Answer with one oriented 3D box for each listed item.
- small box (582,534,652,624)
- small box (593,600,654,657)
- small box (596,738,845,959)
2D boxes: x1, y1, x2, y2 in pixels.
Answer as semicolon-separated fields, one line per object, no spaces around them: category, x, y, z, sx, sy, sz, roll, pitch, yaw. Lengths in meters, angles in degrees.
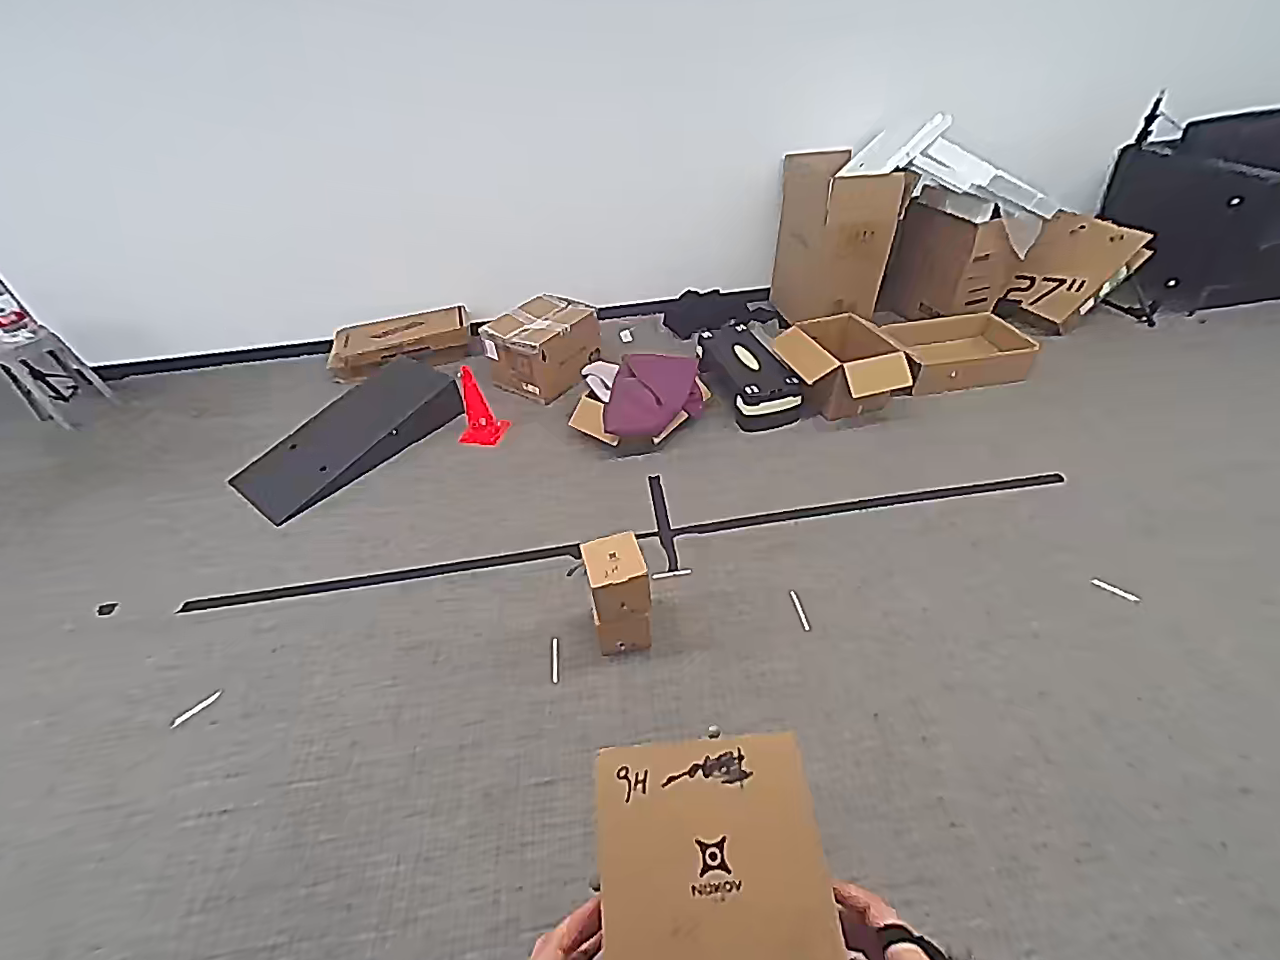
small box;-0.067;0.293;1.601;0.168;0.176;0.179;-14;42;-8
small box;-0.055;0.425;1.700;0.168;0.176;0.179;-11;43;-5
small box;0.055;0.330;0.452;0.168;0.176;0.179;-5;55;-2
